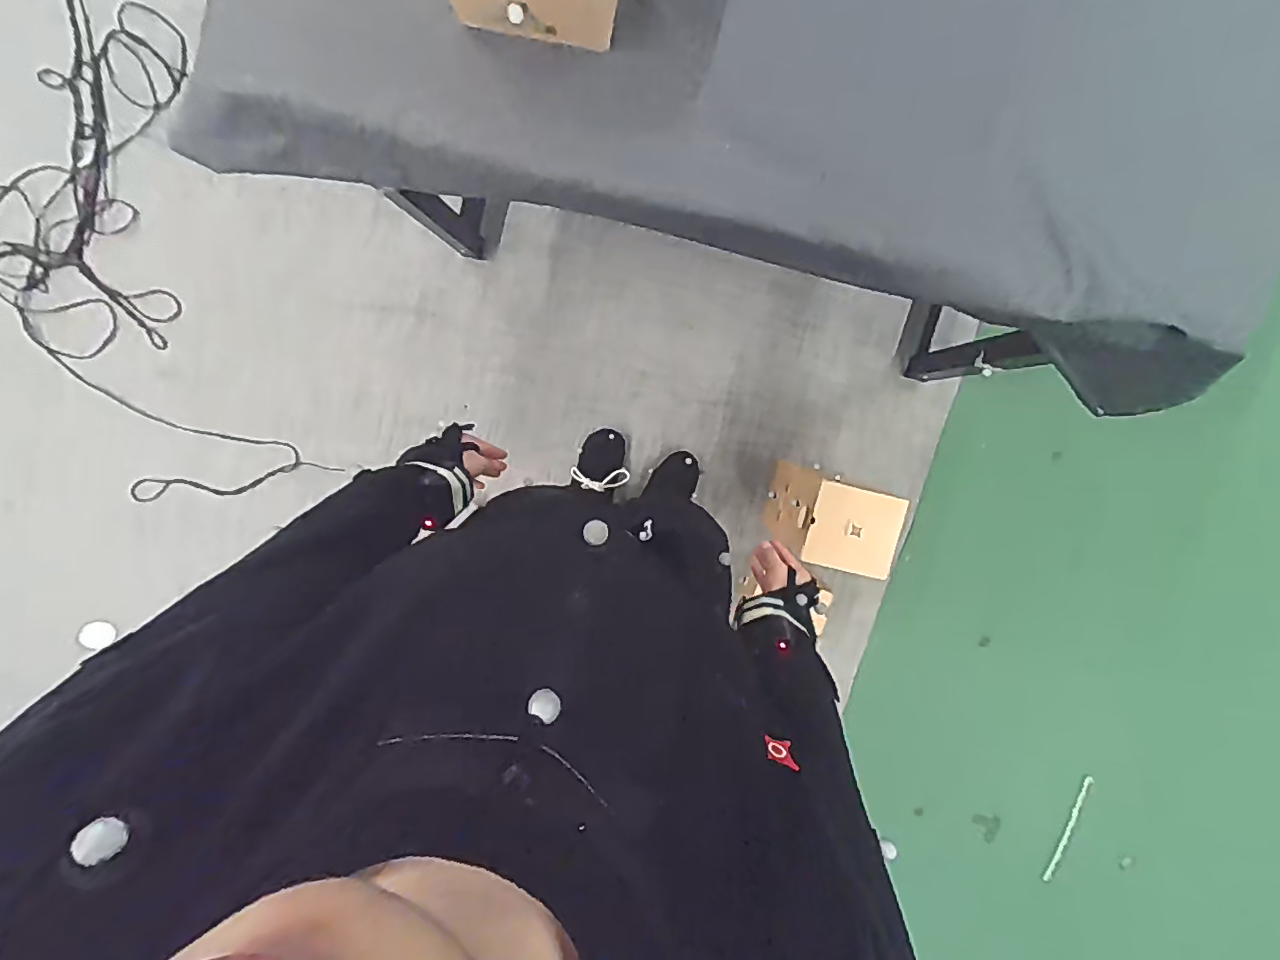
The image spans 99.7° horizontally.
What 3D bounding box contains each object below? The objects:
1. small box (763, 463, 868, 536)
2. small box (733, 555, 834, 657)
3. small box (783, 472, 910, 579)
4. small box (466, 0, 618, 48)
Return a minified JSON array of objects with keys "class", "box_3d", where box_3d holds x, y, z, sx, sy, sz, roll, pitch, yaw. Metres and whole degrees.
[{"class":"small box","box_3d":[0.404,0.059,1.279,0.179,0.176,0.168,15,96,1]},{"class":"small box","box_3d":[0.338,0.296,1.310,0.179,0.176,0.168,18,96,2]},{"class":"small box","box_3d":[0.414,0.084,1.116,0.179,0.176,0.168,13,97,1]},{"class":"small box","box_3d":[-0.097,-0.556,0.495,0.168,0.176,0.179,12,97,1]}]
